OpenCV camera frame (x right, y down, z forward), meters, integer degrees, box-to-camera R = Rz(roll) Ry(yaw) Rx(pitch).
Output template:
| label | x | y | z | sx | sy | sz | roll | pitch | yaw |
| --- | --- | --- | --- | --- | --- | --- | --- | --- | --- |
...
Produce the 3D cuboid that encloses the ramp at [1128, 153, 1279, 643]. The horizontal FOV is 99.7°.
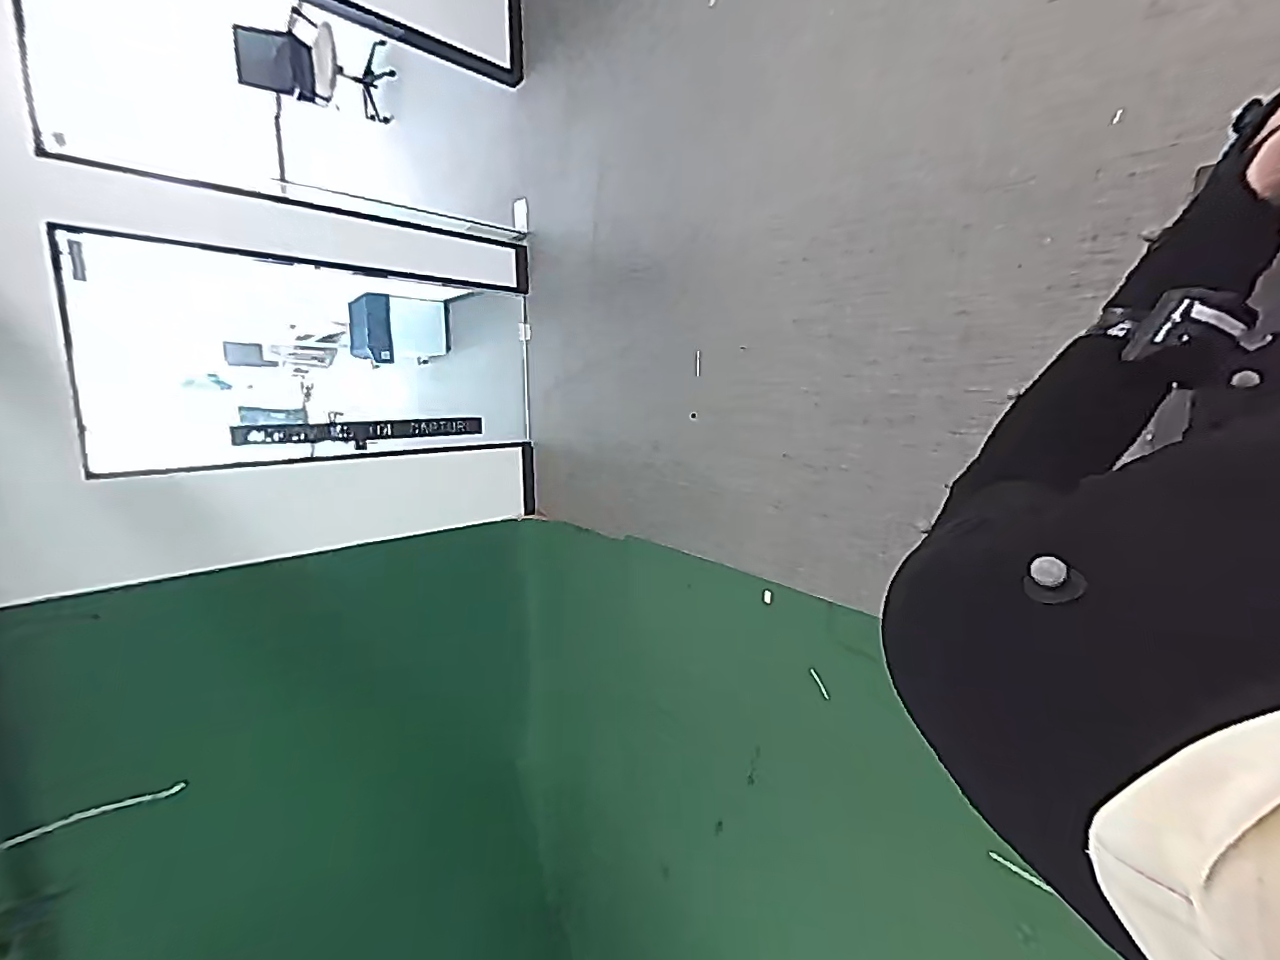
| label | x | y | z | sx | sy | sz | roll | pitch | yaw |
| --- | --- | --- | --- | --- | --- | --- | --- | --- | --- |
| ramp | 1.337 | -0.170 | 1.041 | 0.509 | 0.206 | 0.991 | 8 | 101 | 49 |
